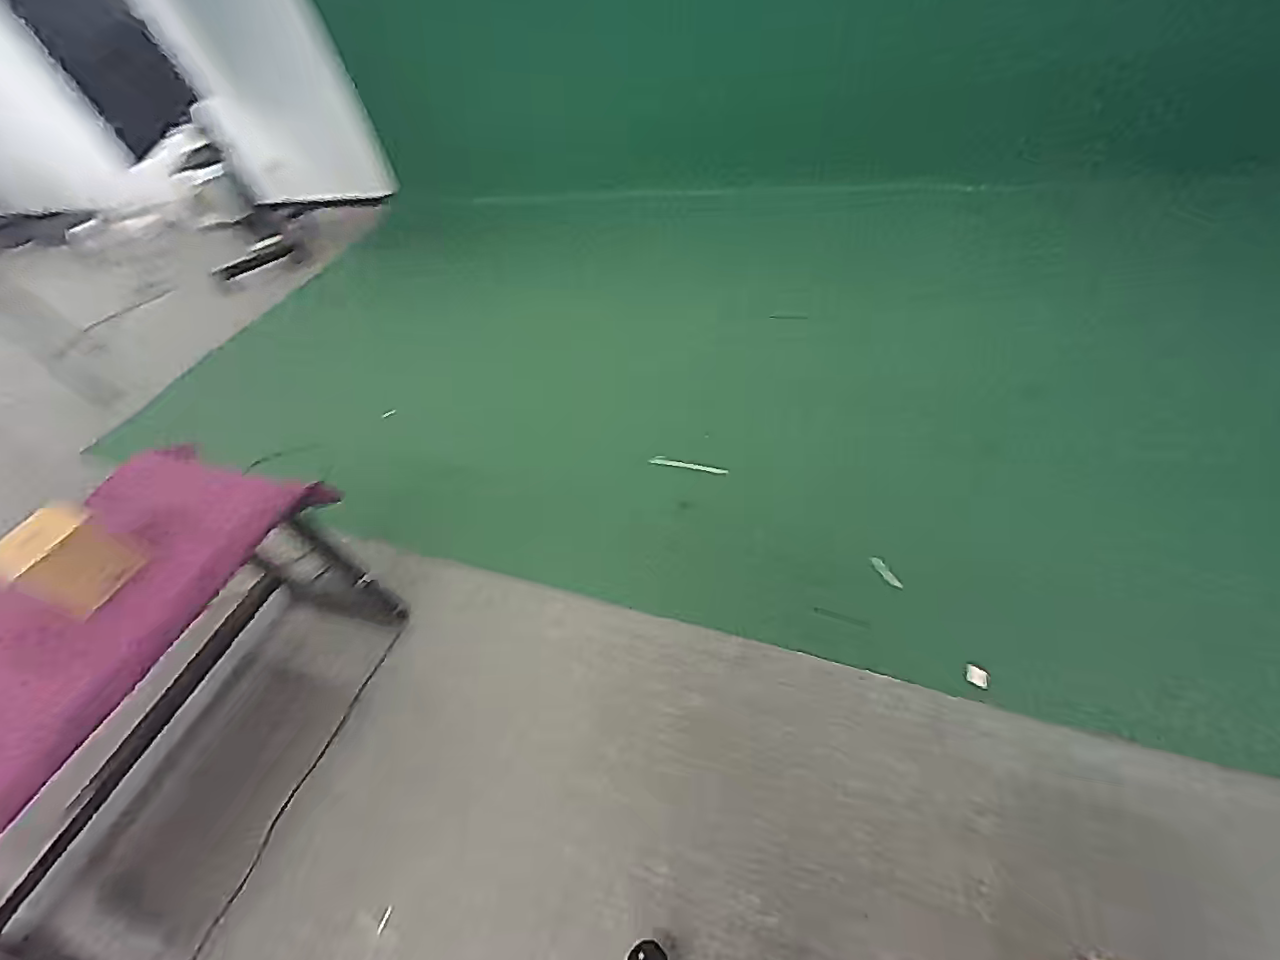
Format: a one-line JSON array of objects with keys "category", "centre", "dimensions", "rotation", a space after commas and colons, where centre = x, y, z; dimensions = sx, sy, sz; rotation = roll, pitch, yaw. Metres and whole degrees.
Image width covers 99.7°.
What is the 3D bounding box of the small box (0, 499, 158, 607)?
[{"category": "small box", "centre": [-1.297, 0.171, 1.253], "dimensions": [0.179, 0.176, 0.168], "rotation": [12, 54, 22]}]
